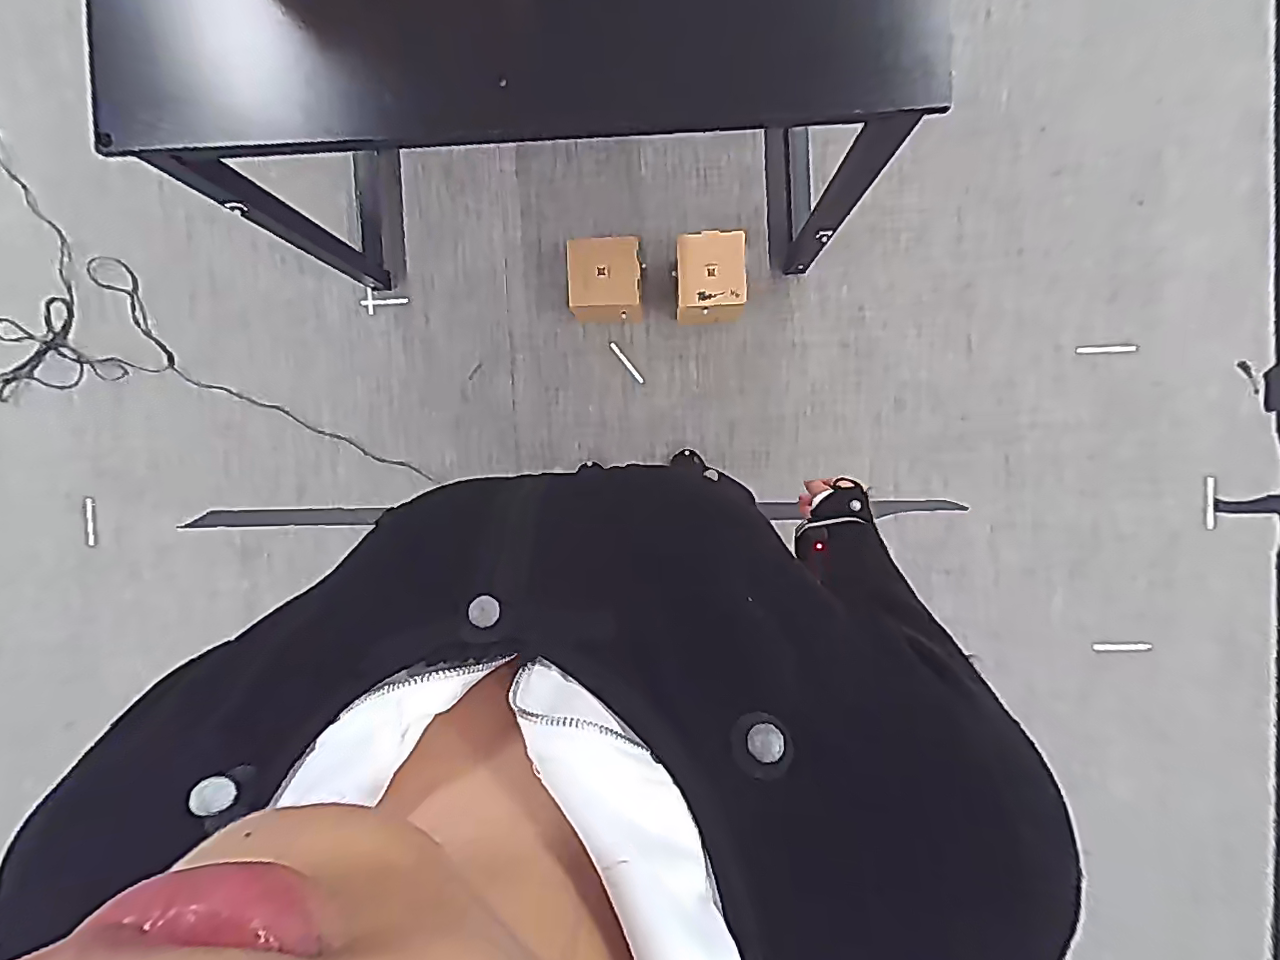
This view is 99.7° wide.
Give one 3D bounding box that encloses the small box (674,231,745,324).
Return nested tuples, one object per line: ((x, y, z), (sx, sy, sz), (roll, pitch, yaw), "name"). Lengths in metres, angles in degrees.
((0.174, -0.513, 1.386), (0.168, 0.176, 0.179), (-2, 92, 3), "small box")

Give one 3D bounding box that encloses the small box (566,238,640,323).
((-0.089, -0.511, 1.400), (0.179, 0.176, 0.168), (-2, 92, 3), "small box")
